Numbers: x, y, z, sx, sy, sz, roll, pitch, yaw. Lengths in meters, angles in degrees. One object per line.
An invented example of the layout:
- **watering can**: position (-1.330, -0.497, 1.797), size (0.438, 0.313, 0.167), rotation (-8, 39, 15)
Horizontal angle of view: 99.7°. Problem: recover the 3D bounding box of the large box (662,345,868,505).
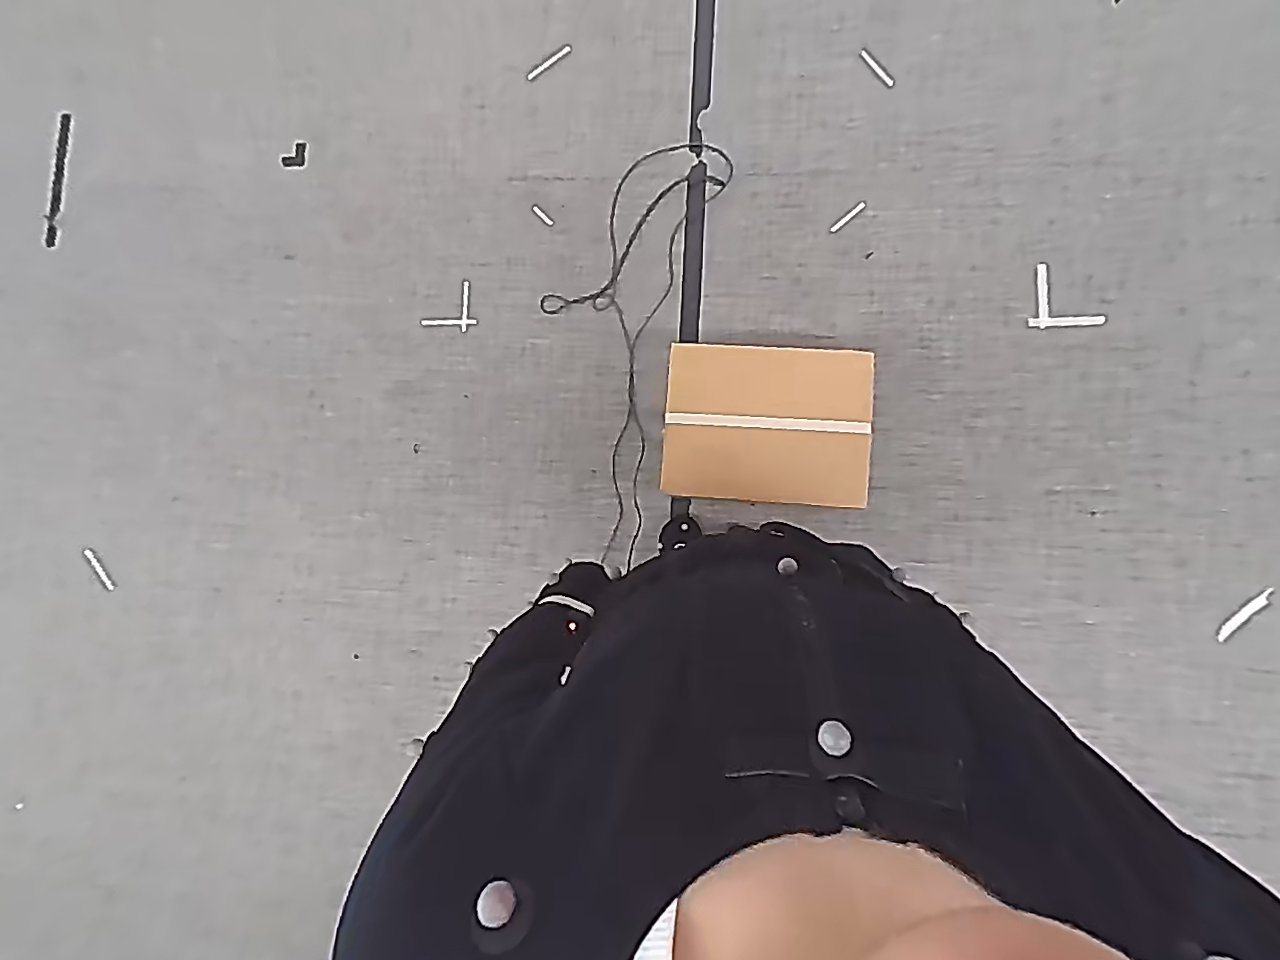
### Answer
- **large box**: position (0.261, -0.107, 1.236), size (0.408, 0.320, 0.320), rotation (4, 88, 5)
